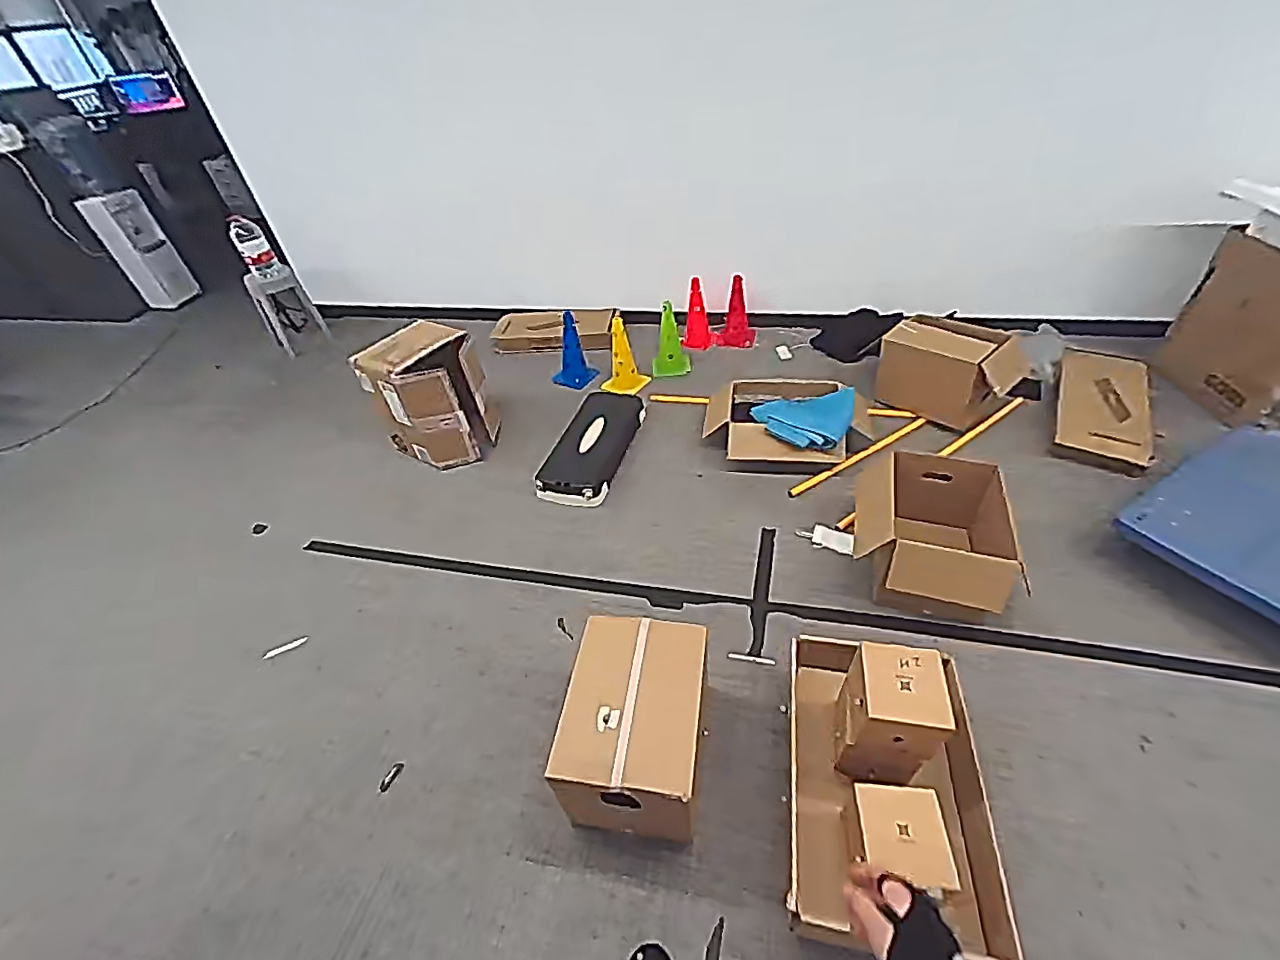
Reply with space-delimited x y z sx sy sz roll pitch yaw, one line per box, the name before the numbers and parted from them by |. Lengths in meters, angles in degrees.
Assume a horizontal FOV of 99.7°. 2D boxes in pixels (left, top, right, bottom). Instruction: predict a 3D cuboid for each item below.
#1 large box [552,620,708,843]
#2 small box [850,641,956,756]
large box | 0.005 0.610 1.342 0.320 0.320 0.408 2 44 11
small box | 0.566 0.482 1.188 0.168 0.176 0.179 5 45 11
